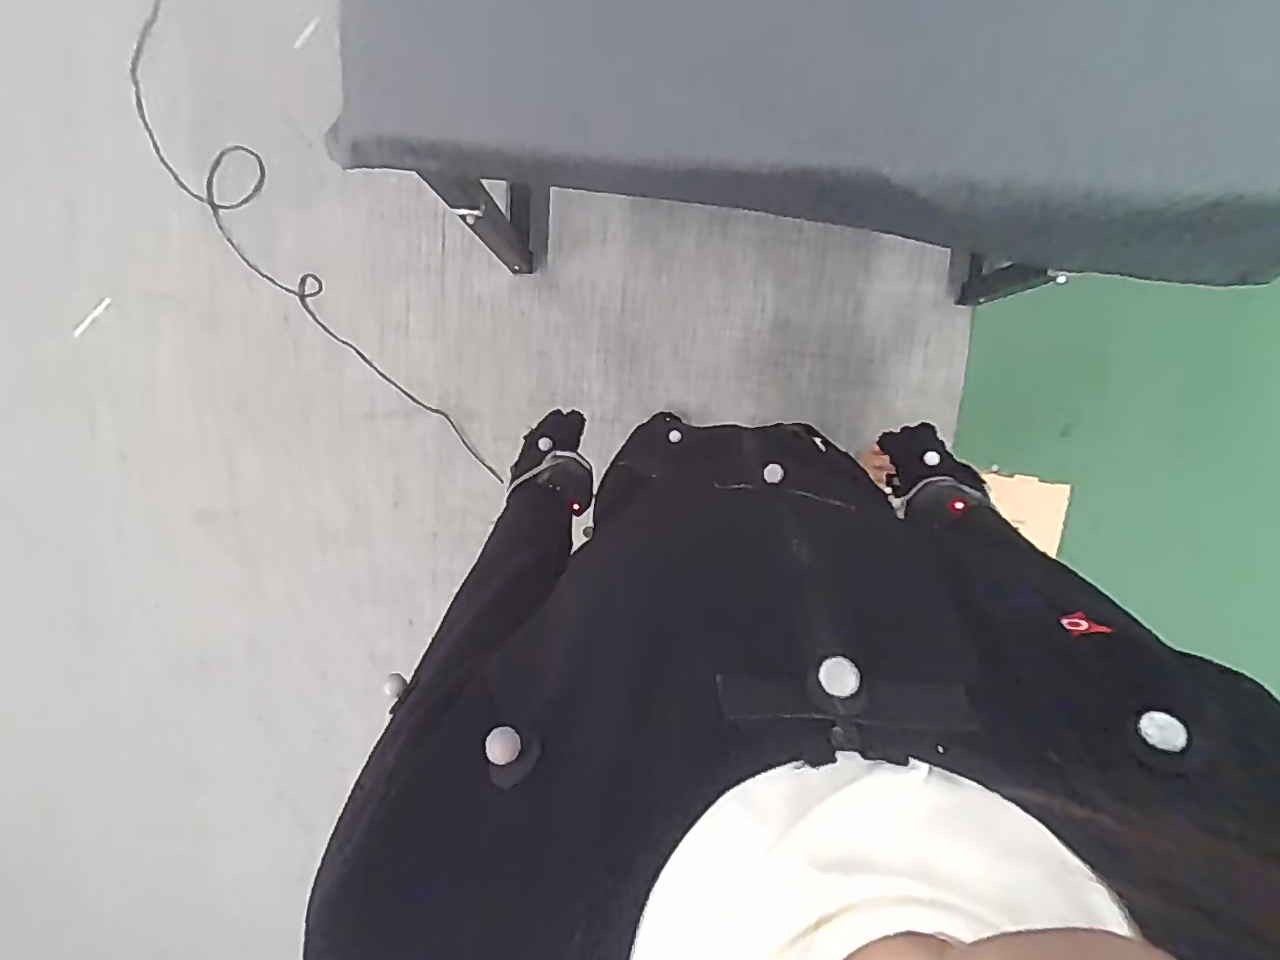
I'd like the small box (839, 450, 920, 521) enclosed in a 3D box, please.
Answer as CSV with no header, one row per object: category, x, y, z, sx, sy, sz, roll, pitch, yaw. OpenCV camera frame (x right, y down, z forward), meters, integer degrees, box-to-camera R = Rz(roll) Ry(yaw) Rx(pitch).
small box,0.627,0.020,1.357,0.179,0.176,0.168,8,97,0

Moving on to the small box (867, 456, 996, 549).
small box,0.633,0.043,1.193,0.179,0.176,0.168,9,97,-1
